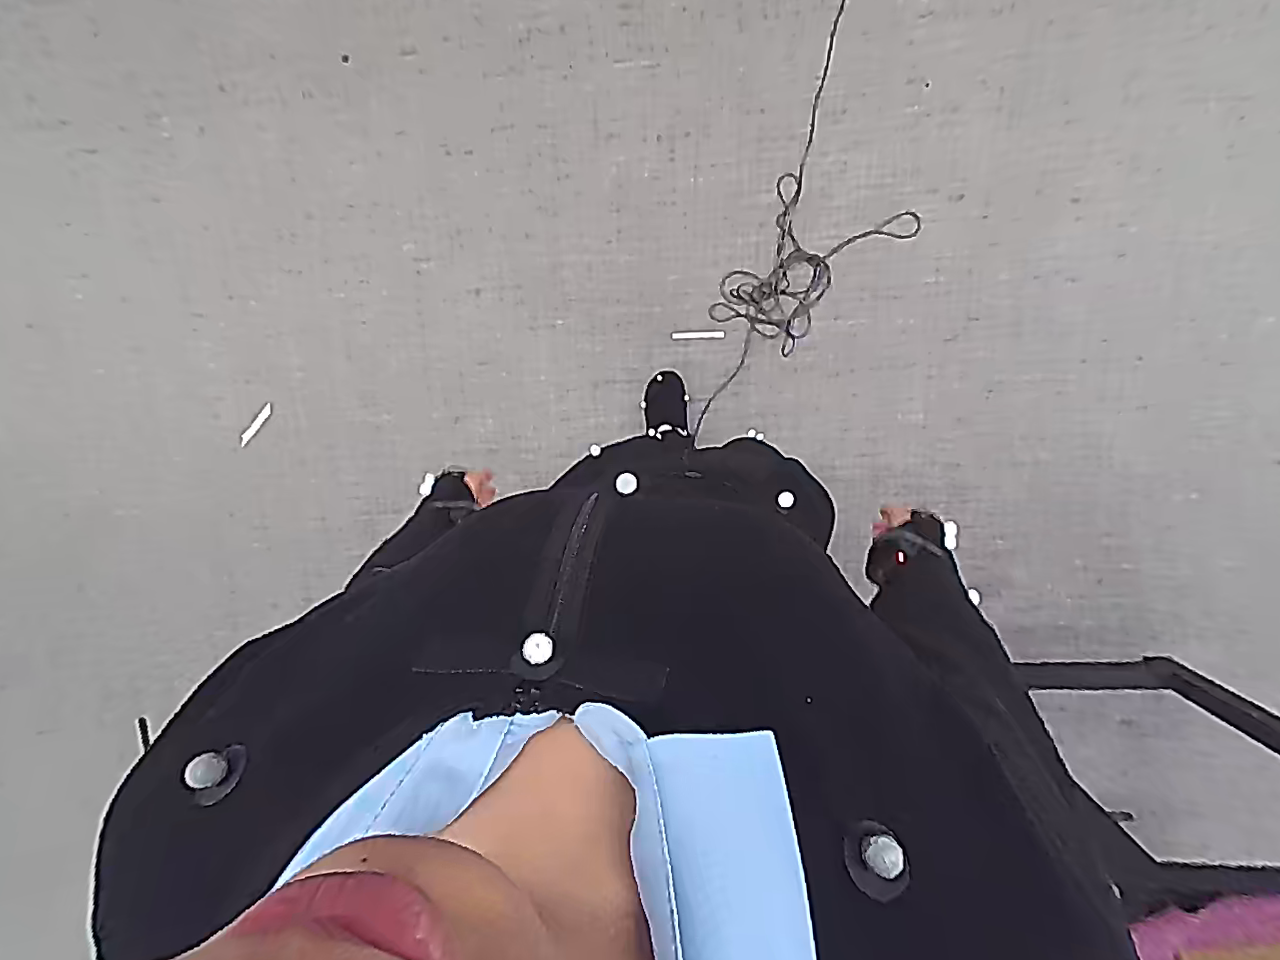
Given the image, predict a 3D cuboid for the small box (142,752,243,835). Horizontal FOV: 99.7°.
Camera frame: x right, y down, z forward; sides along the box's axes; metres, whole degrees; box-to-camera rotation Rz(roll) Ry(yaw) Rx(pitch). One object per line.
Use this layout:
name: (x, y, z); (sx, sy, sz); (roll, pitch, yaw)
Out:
small box: (-1.387, 0.975, 1.693); (0.179, 0.176, 0.168); (-5, 97, 8)
